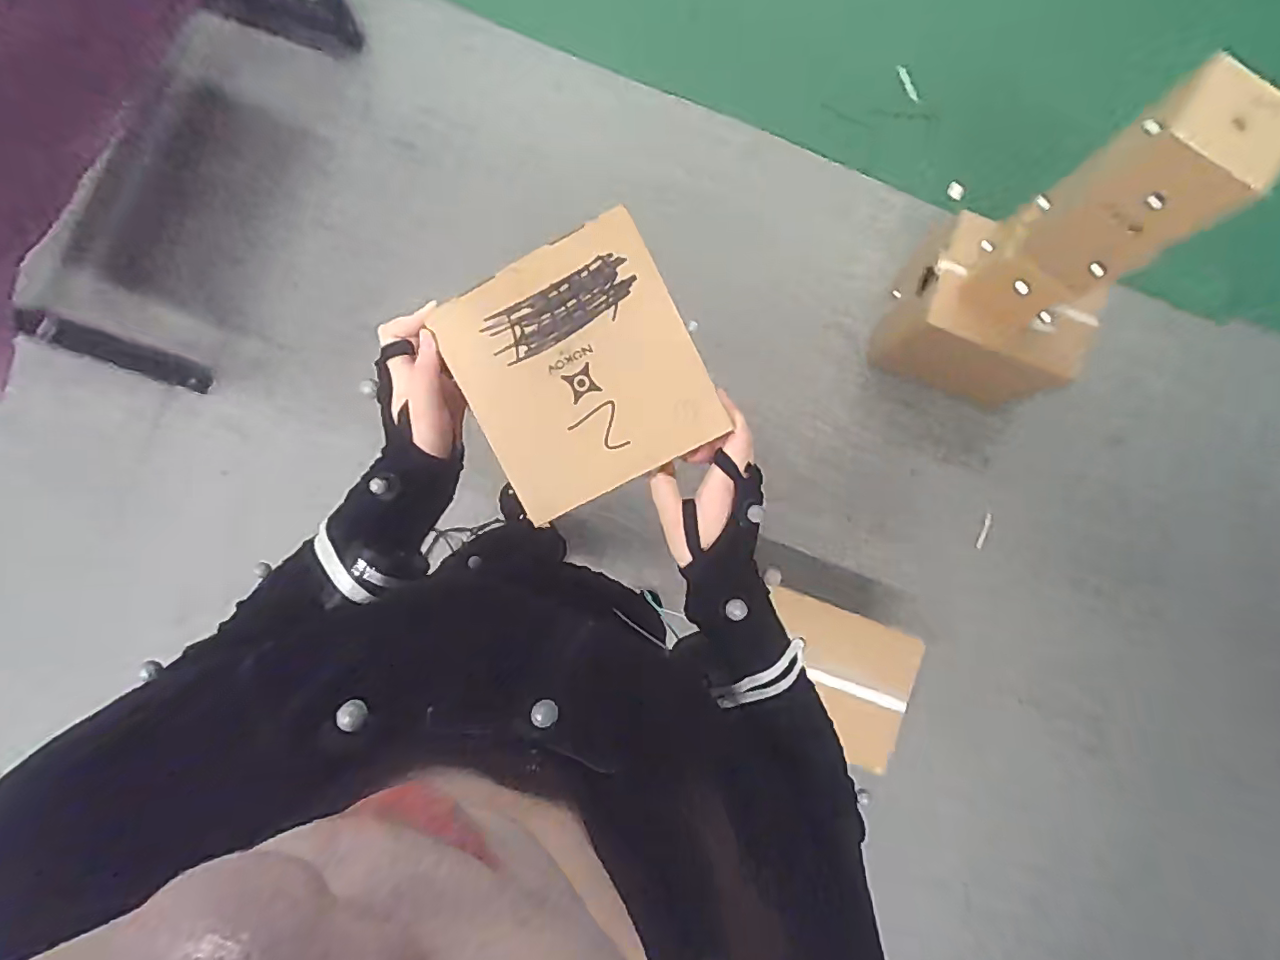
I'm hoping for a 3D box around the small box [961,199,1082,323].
[{"bbox_3d":[0.880,-0.479,1.219,0.179,0.176,0.168,33,84,1],"label":"small box"}]

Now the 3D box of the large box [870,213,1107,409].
[{"bbox_3d":[0.913,-0.432,1.460,0.408,0.320,0.320,22,84,-2],"label":"large box"}]

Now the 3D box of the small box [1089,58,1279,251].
[{"bbox_3d":[0.907,-0.523,0.895,0.168,0.176,0.179,37,83,1],"label":"small box"}]

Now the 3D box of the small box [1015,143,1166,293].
[{"bbox_3d":[0.899,-0.496,1.058,0.179,0.176,0.168,36,83,2],"label":"small box"}]
